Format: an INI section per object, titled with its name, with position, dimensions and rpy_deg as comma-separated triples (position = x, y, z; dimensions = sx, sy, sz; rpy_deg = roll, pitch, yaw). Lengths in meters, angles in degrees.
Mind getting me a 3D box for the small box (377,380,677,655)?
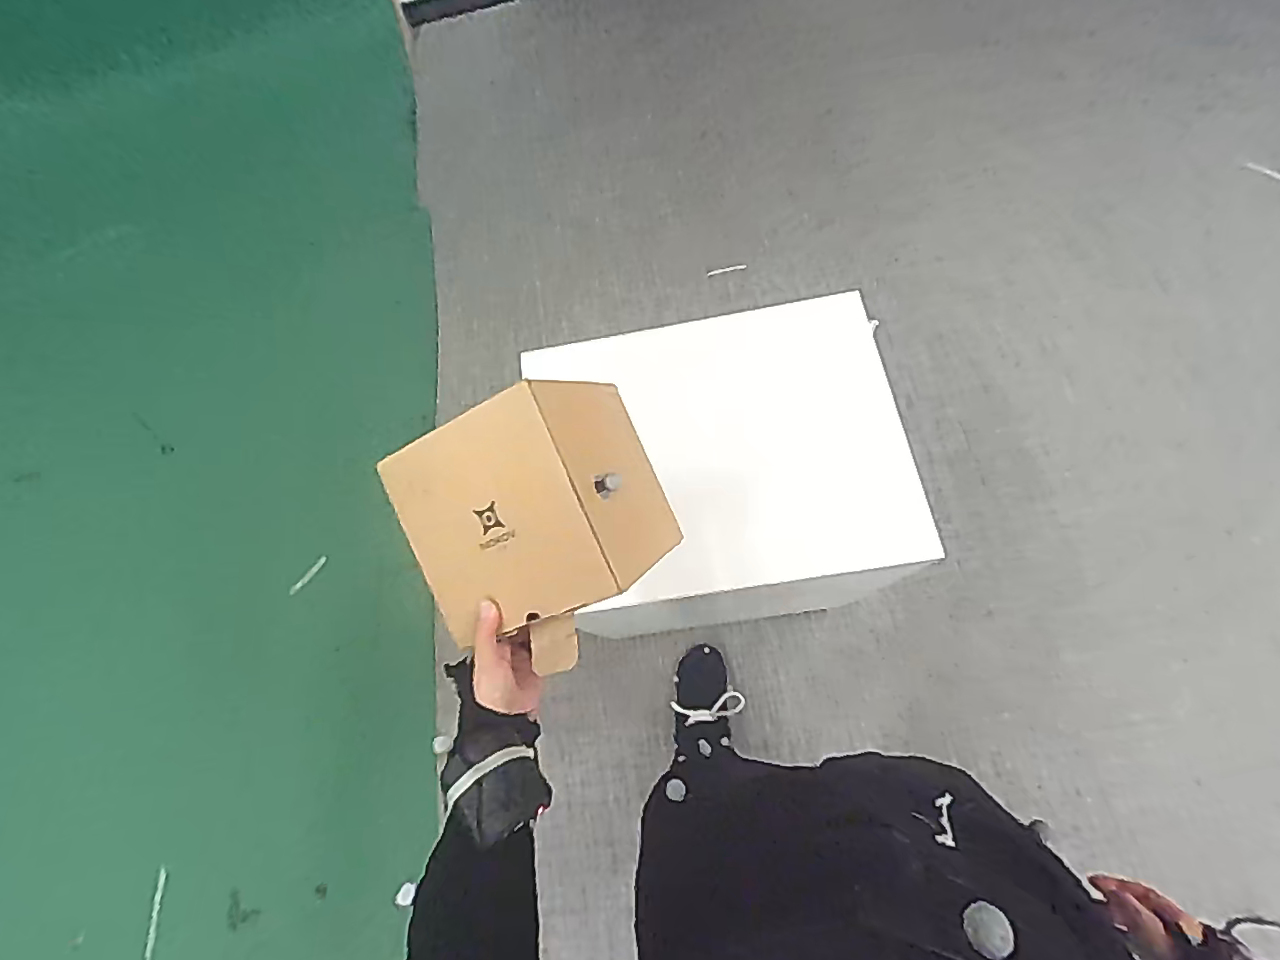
[small box]
position = -0.087, 0.024, 0.490
dimensions = 0.168, 0.176, 0.179
rpy_deg = -24, 91, 21
